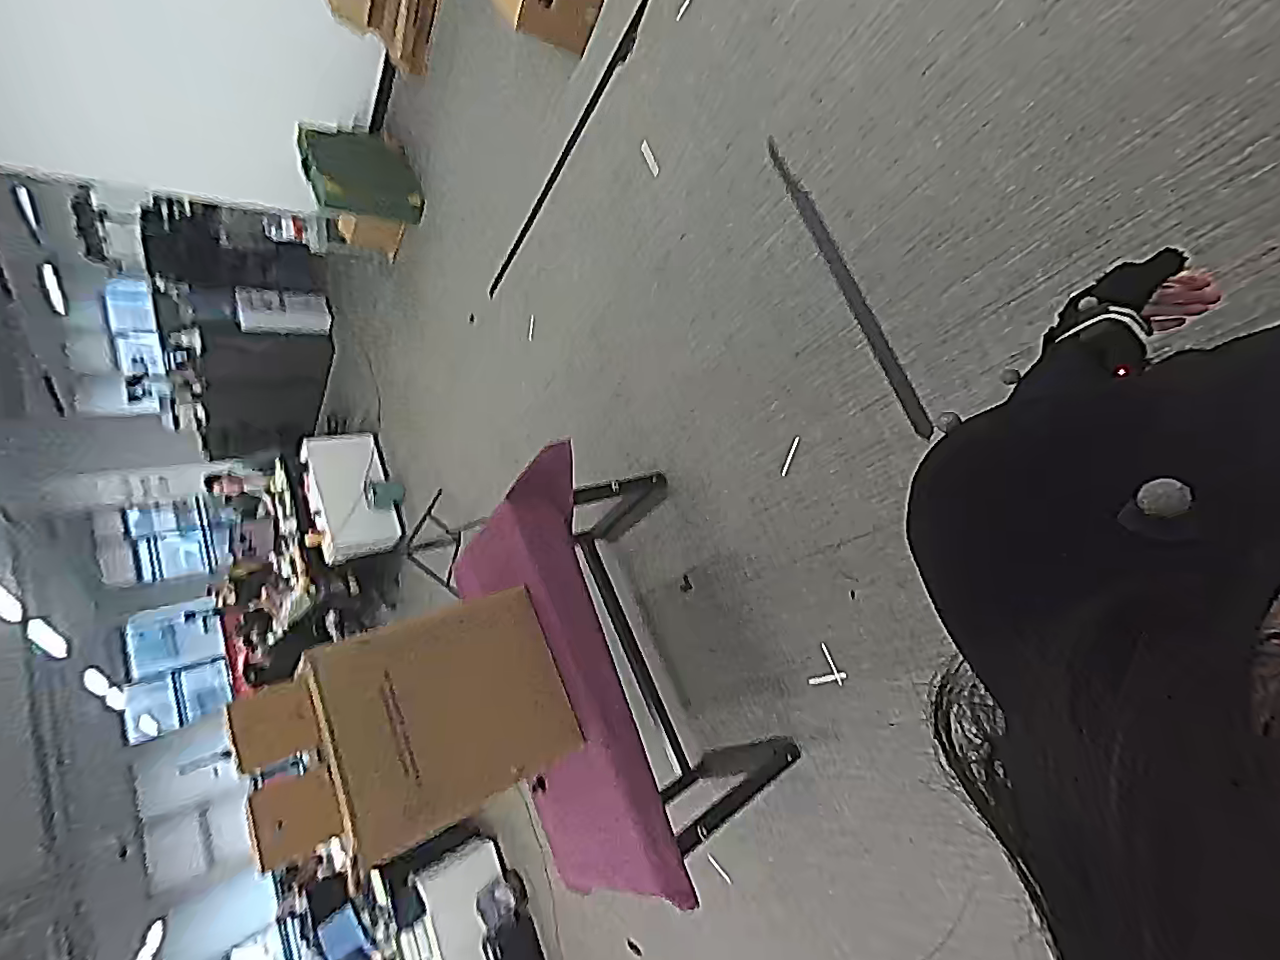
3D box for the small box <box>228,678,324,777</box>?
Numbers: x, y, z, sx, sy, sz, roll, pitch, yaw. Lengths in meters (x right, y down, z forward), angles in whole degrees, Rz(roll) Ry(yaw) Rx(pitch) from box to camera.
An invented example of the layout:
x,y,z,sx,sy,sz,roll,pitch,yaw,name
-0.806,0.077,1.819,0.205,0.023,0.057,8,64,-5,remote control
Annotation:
x,y,z,sx,sy,sz,roll,pitch,yaw,name
-0.922,0.619,1.367,0.168,0.176,0.179,-39,69,45,small box
